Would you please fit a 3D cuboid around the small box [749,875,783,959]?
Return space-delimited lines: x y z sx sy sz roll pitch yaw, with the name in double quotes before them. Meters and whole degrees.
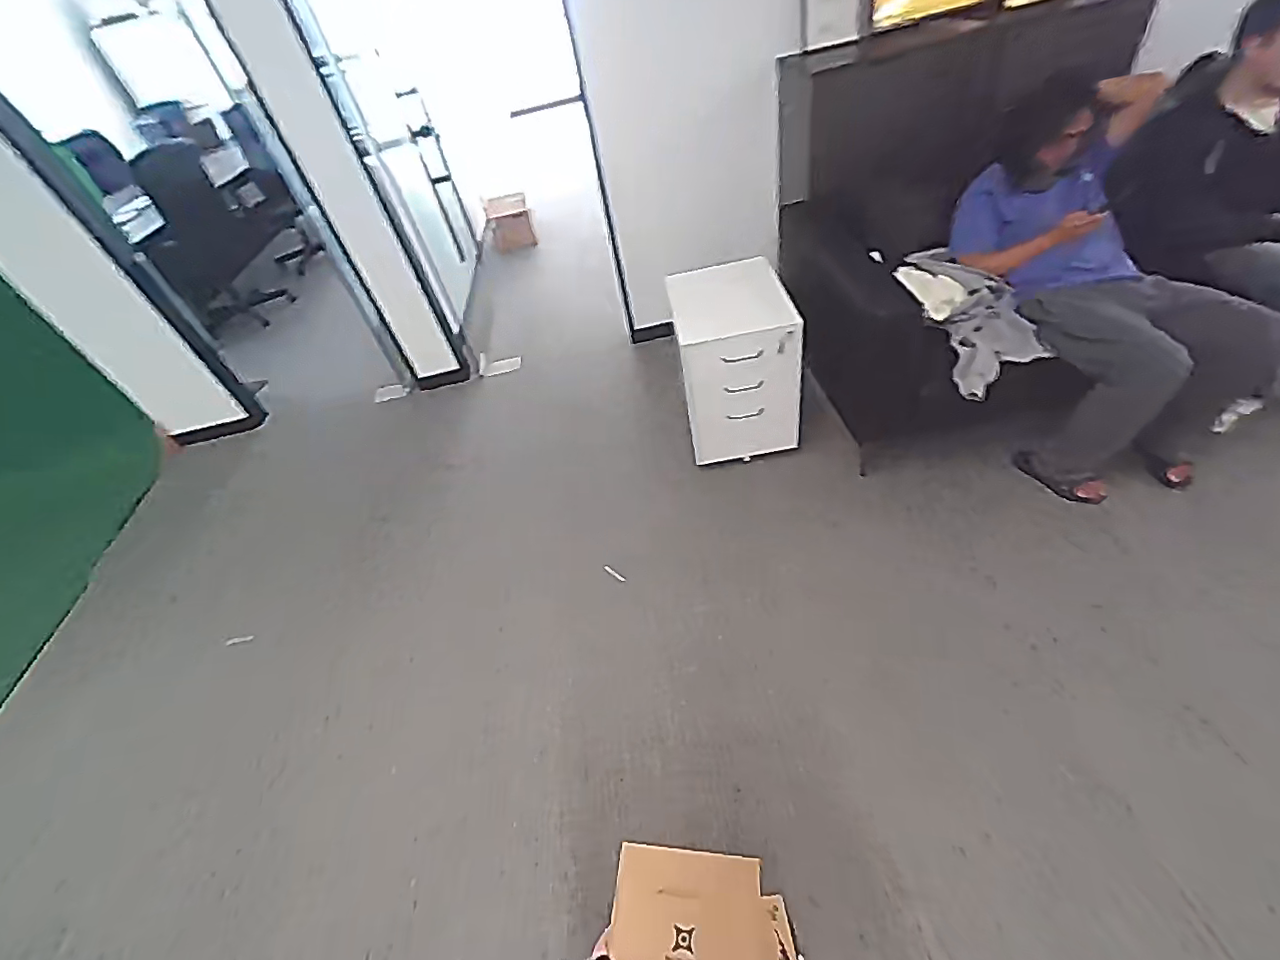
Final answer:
"small box" 0.195 0.959 1.135 0.179 0.176 0.168 -10 44 0
